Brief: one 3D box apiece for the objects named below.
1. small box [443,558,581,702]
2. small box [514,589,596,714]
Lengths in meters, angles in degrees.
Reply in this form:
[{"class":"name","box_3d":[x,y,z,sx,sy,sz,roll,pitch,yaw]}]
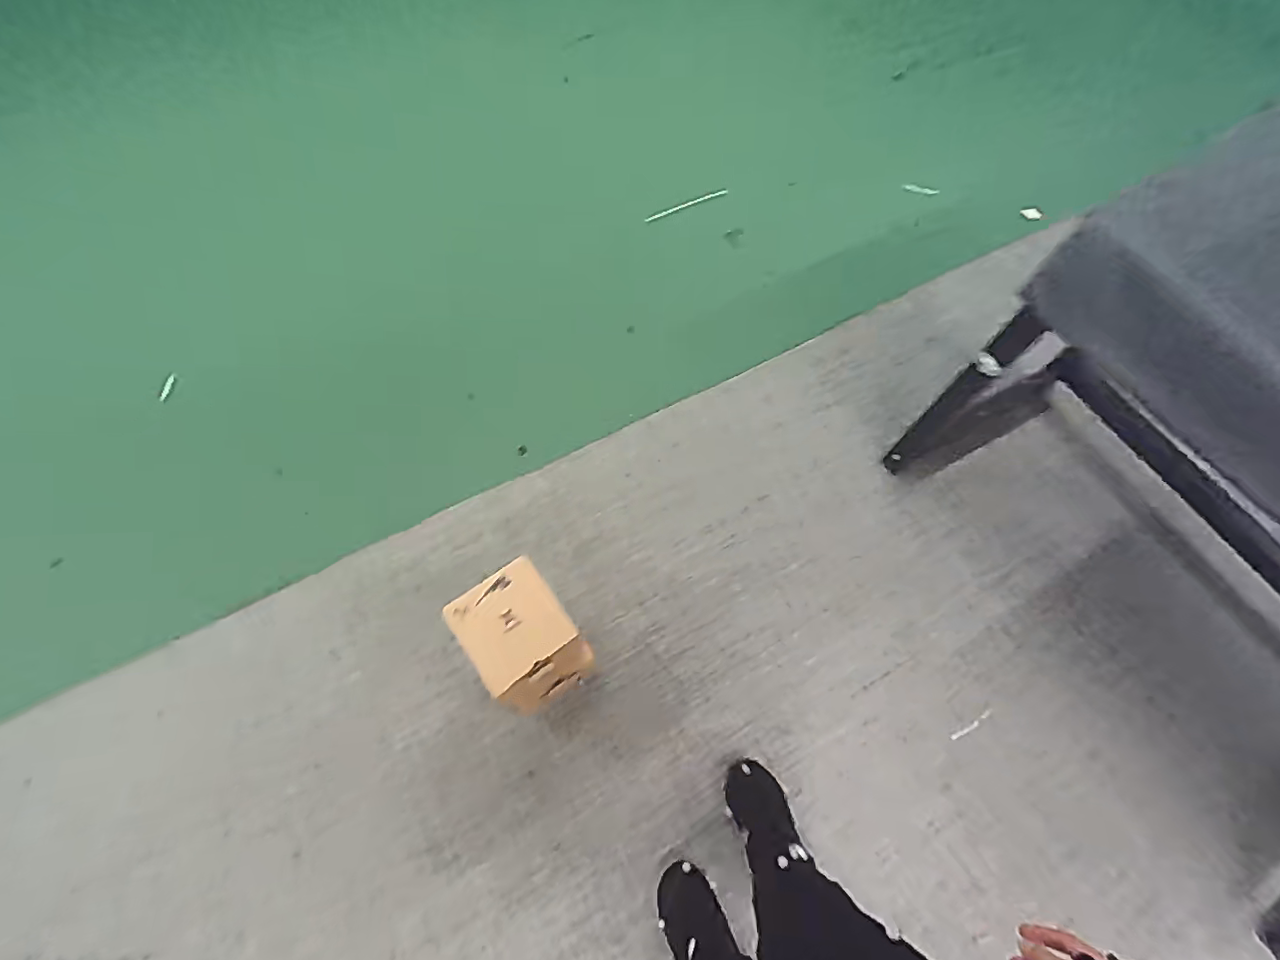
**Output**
[{"class":"small box","box_3d":[-0.217,0.274,0.967,0.168,0.176,0.179,-34,70,-18]},{"class":"small box","box_3d":[-0.202,0.357,1.109,0.168,0.176,0.179,-33,68,-17]}]
